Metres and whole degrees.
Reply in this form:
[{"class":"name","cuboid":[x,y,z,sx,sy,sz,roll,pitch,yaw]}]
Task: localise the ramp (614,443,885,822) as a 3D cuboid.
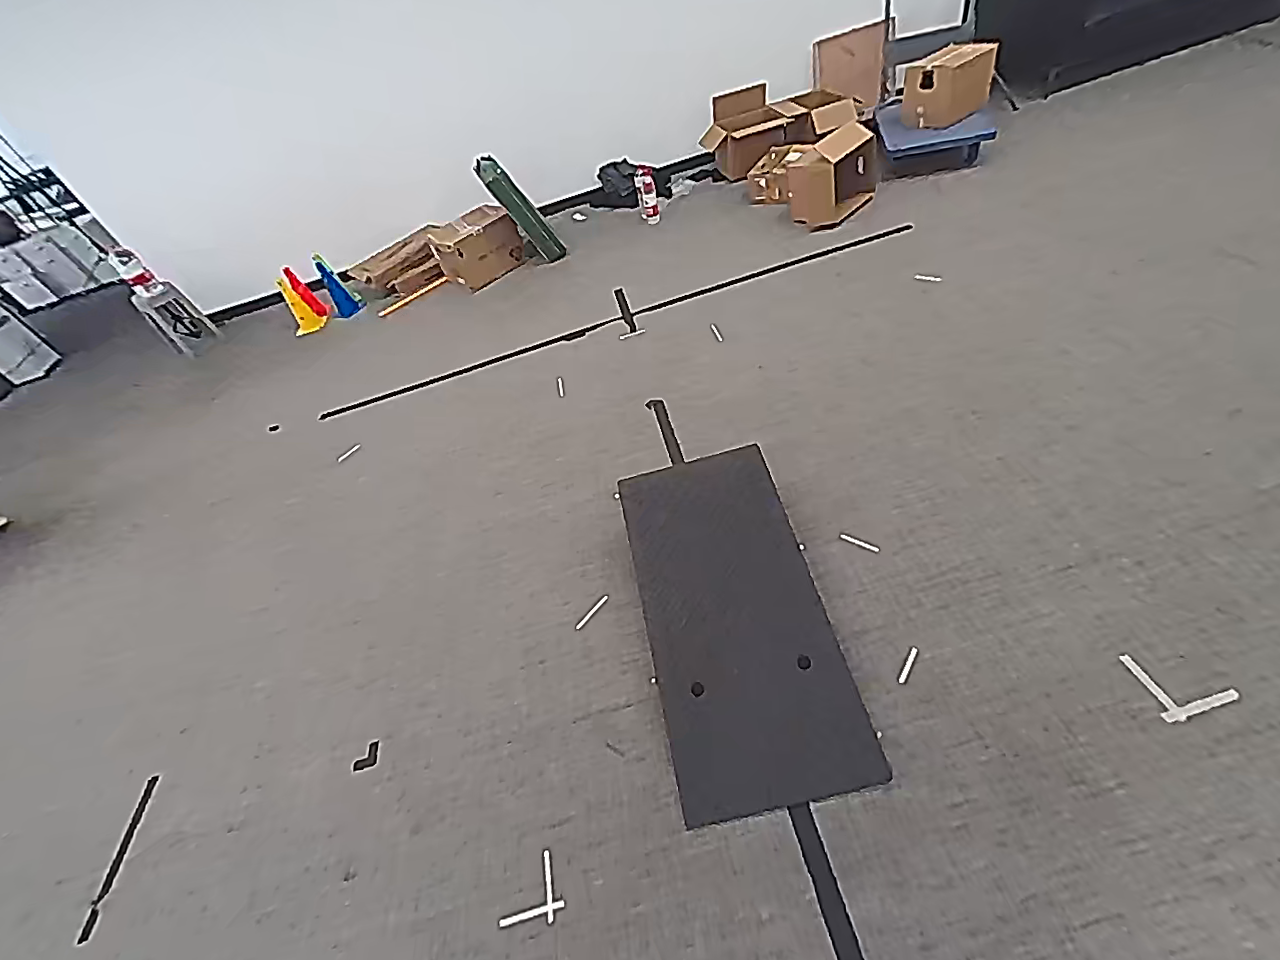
[{"class":"ramp","cuboid":[0.244,0.341,1.533,0.509,0.206,0.991,-16,46,1]}]
